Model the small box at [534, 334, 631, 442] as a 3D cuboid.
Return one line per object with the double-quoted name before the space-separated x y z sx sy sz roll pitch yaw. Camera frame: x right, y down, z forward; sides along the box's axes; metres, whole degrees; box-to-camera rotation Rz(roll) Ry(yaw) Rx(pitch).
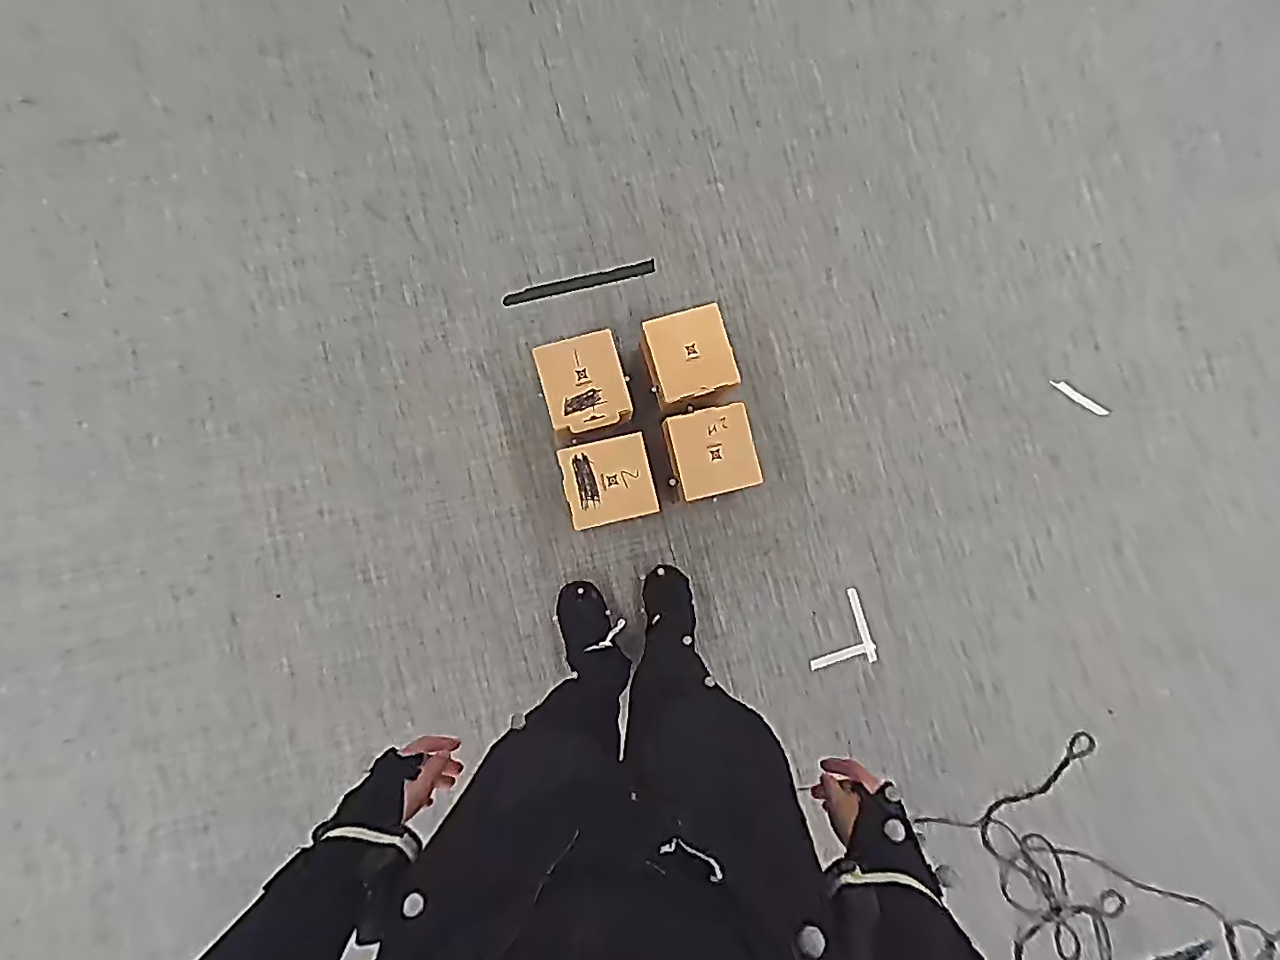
"small box" -0.120 -0.187 1.162 0.168 0.176 0.179 -15 85 -6
